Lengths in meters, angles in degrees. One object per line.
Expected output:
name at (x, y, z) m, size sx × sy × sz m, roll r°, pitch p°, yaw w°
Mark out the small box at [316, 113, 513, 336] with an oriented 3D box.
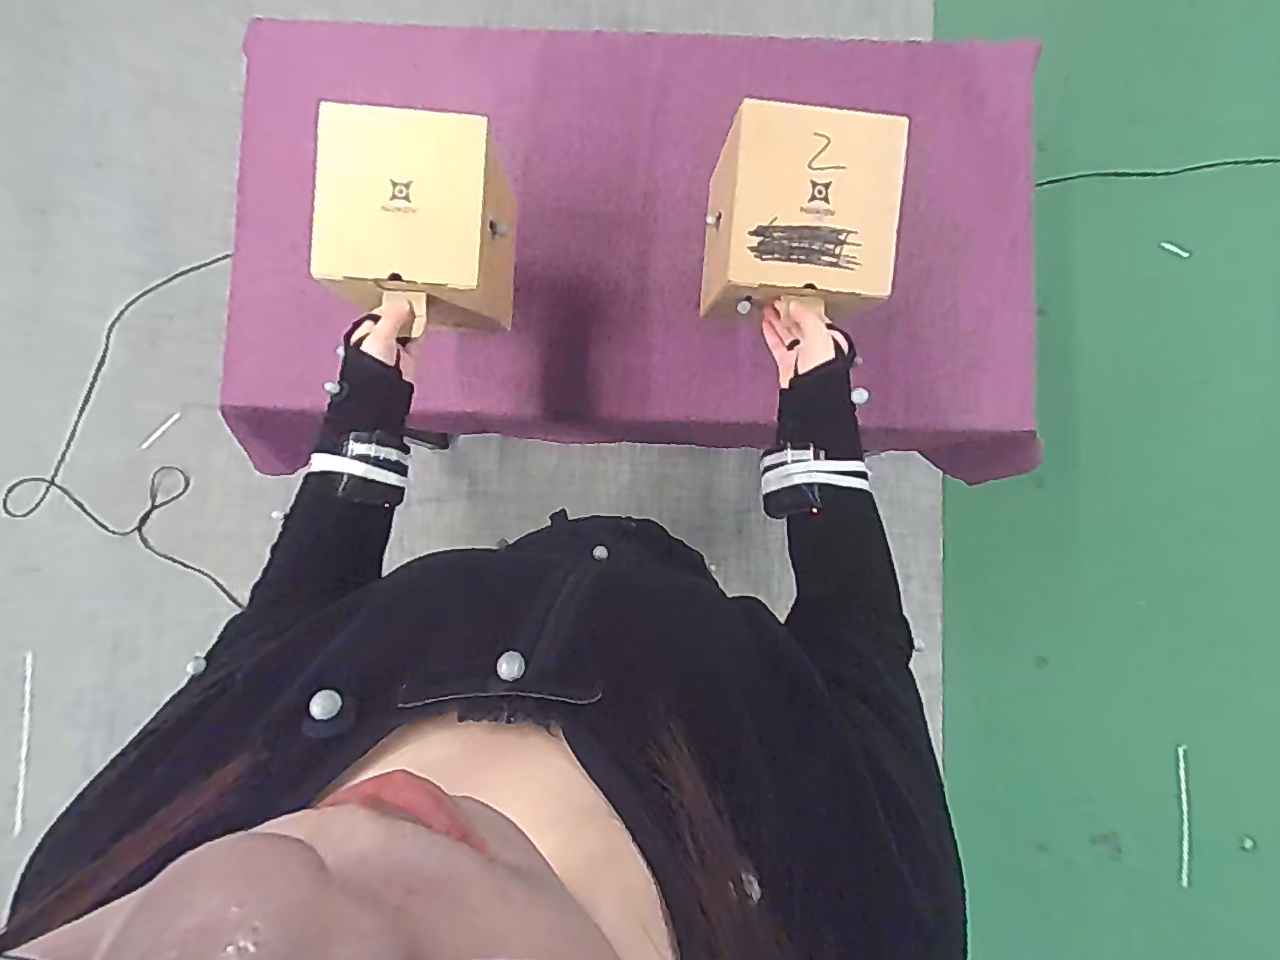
small box at (-0.248, -0.283, 0.634) m, size 0.168 × 0.176 × 0.179 m, roll 3°, pitch 91°, yaw -3°
